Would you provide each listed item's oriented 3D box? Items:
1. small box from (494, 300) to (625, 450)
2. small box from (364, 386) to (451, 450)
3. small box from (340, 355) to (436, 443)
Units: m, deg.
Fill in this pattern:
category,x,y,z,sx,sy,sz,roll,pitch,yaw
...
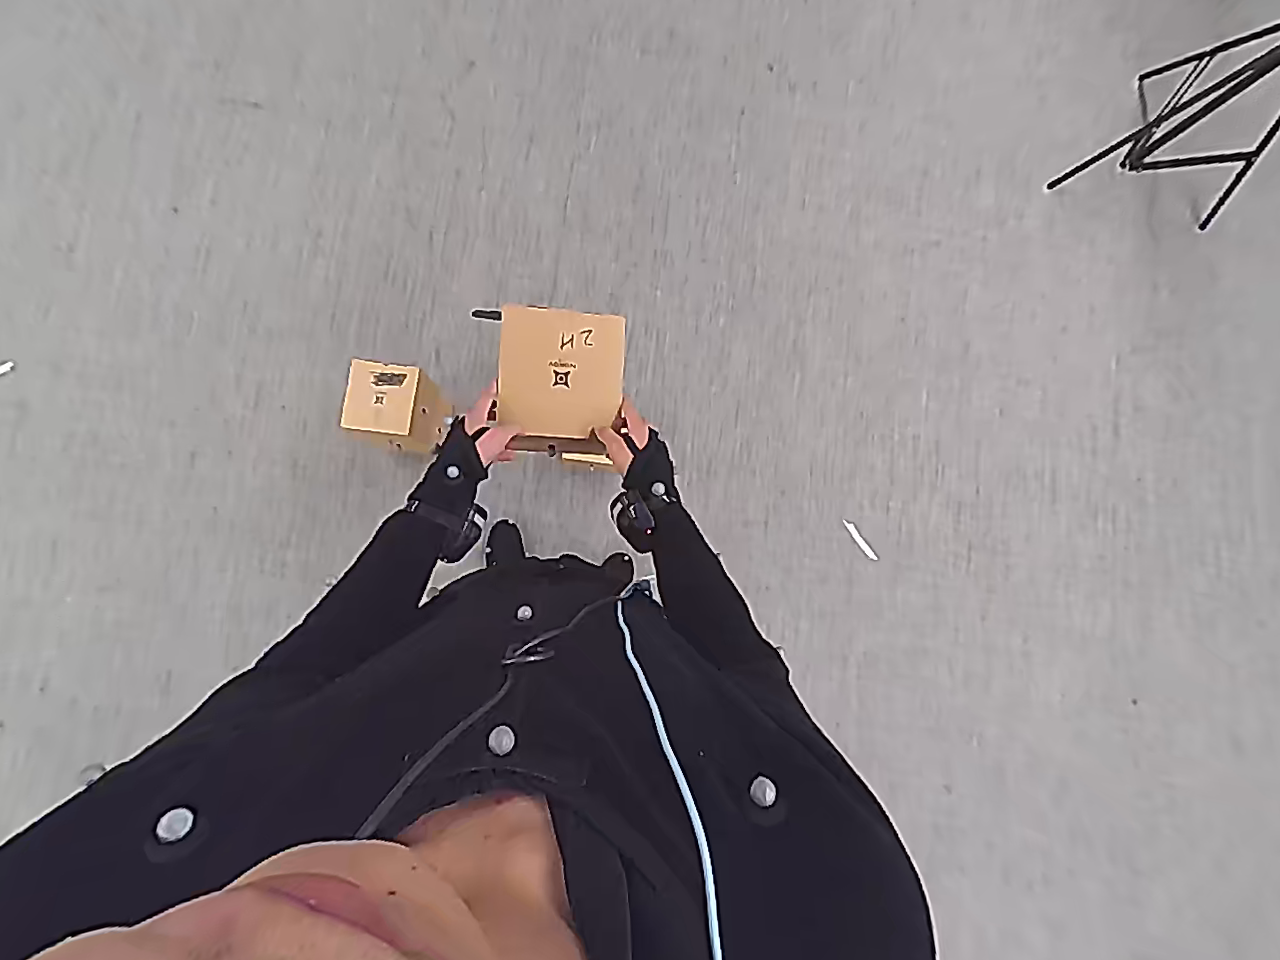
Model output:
category,x,y,z,sx,sy,sz,roll,pitch,yaw
small box,-0.120,-0.140,0.791,0.168,0.176,0.179,3,86,-12
small box,-0.659,-0.183,1.554,0.179,0.176,0.168,7,84,-4
small box,-0.639,-0.202,1.392,0.168,0.176,0.179,7,84,-4
